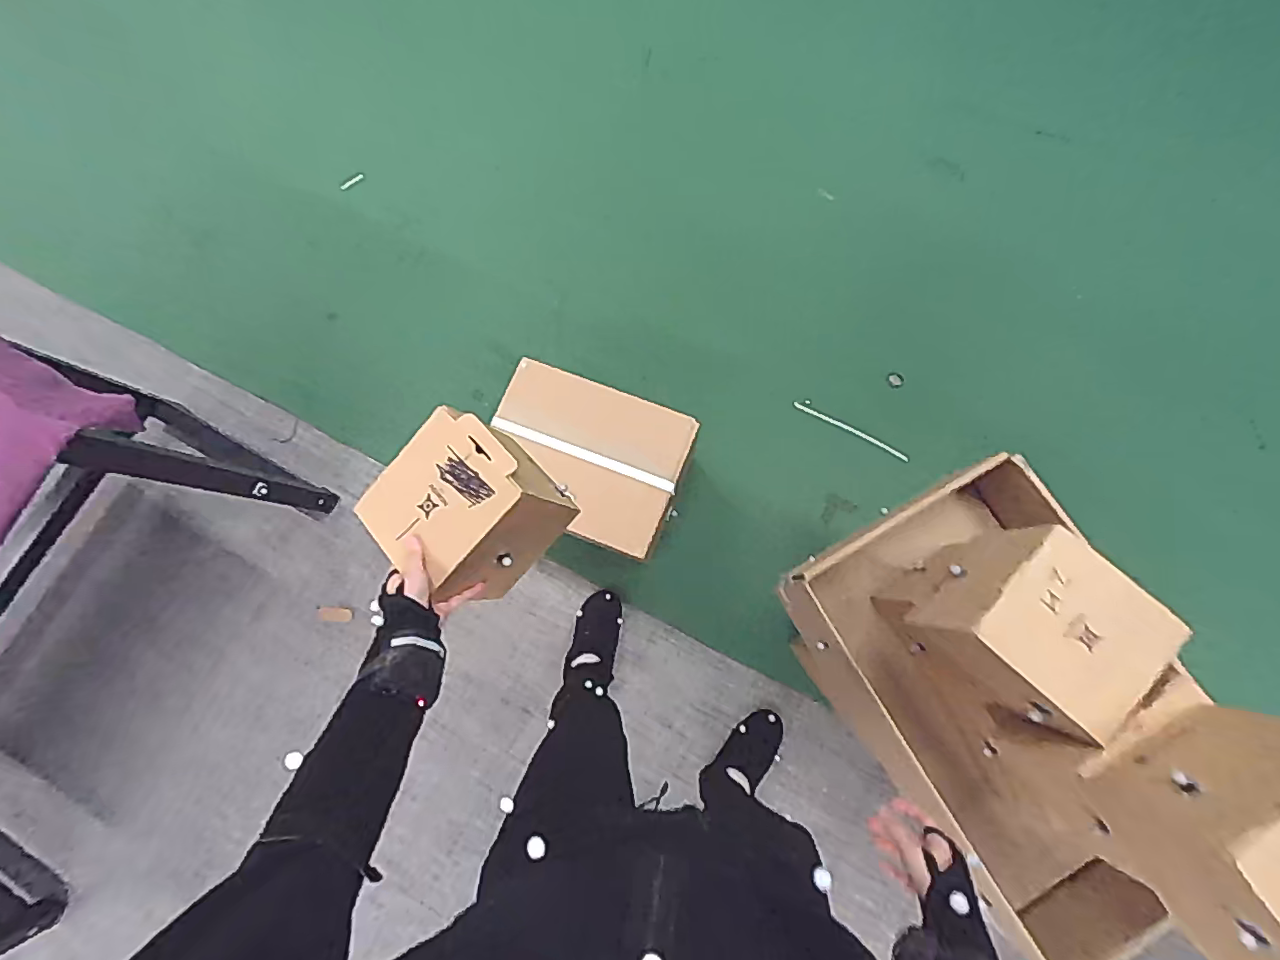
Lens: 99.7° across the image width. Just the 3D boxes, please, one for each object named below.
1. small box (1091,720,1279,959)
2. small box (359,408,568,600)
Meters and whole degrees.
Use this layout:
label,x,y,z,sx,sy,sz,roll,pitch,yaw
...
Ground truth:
label,x,y,z,sx,sy,sz,roll,pitch,yaw
small box,0.561,0.330,0.466,0.168,0.176,0.179,-30,76,-3
small box,-0.218,0.039,0.718,0.168,0.176,0.179,44,95,21
